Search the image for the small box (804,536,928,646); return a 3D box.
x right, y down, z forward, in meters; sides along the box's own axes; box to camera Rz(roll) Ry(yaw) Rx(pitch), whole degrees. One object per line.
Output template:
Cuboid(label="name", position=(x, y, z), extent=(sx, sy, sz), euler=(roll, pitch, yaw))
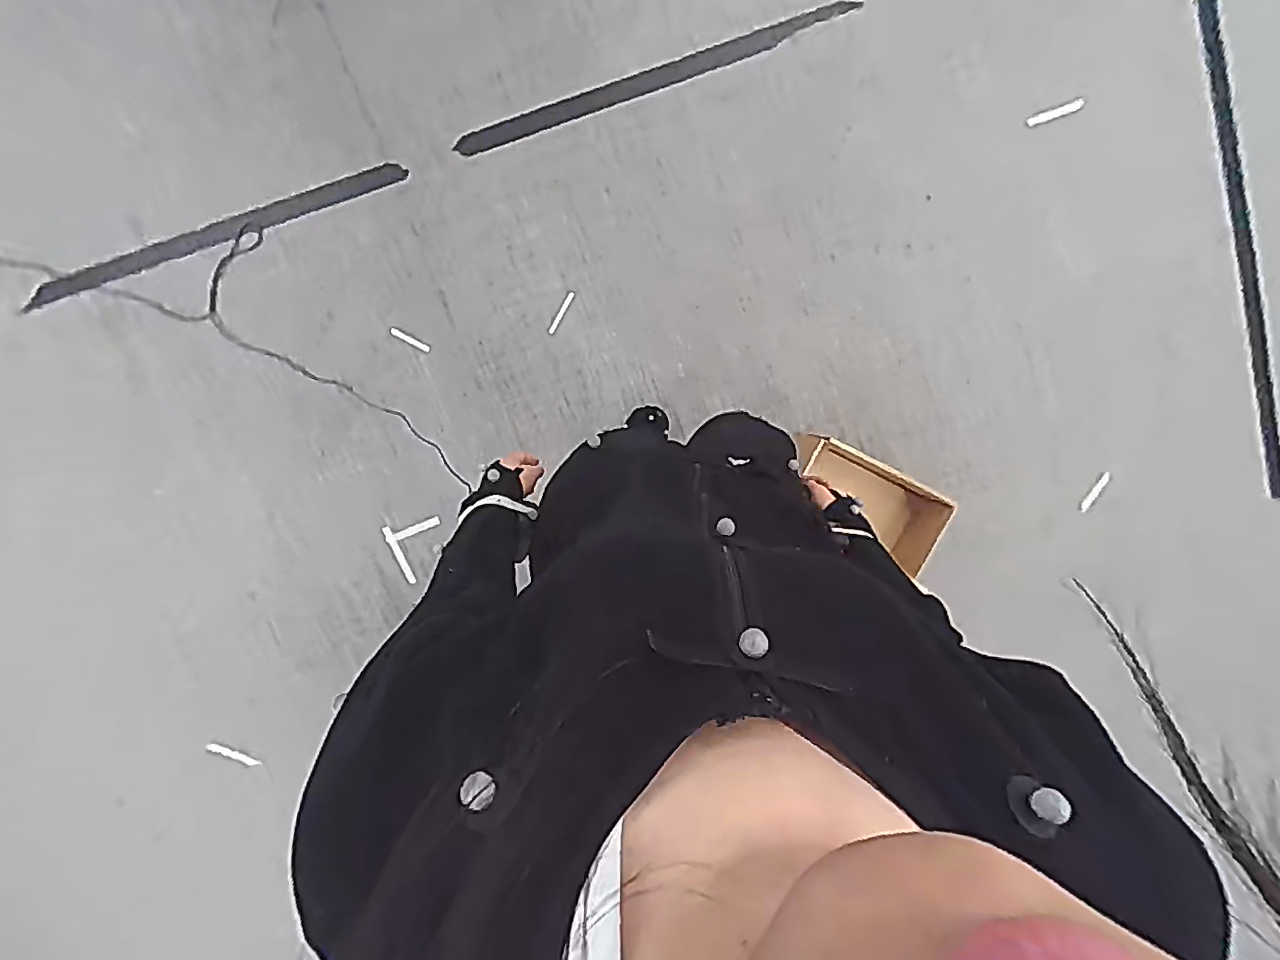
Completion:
Cuboid(label="small box", position=(0.514, 0.247, 1.262), extent=(0.179, 0.176, 0.168), euler=(30, 98, -7))
